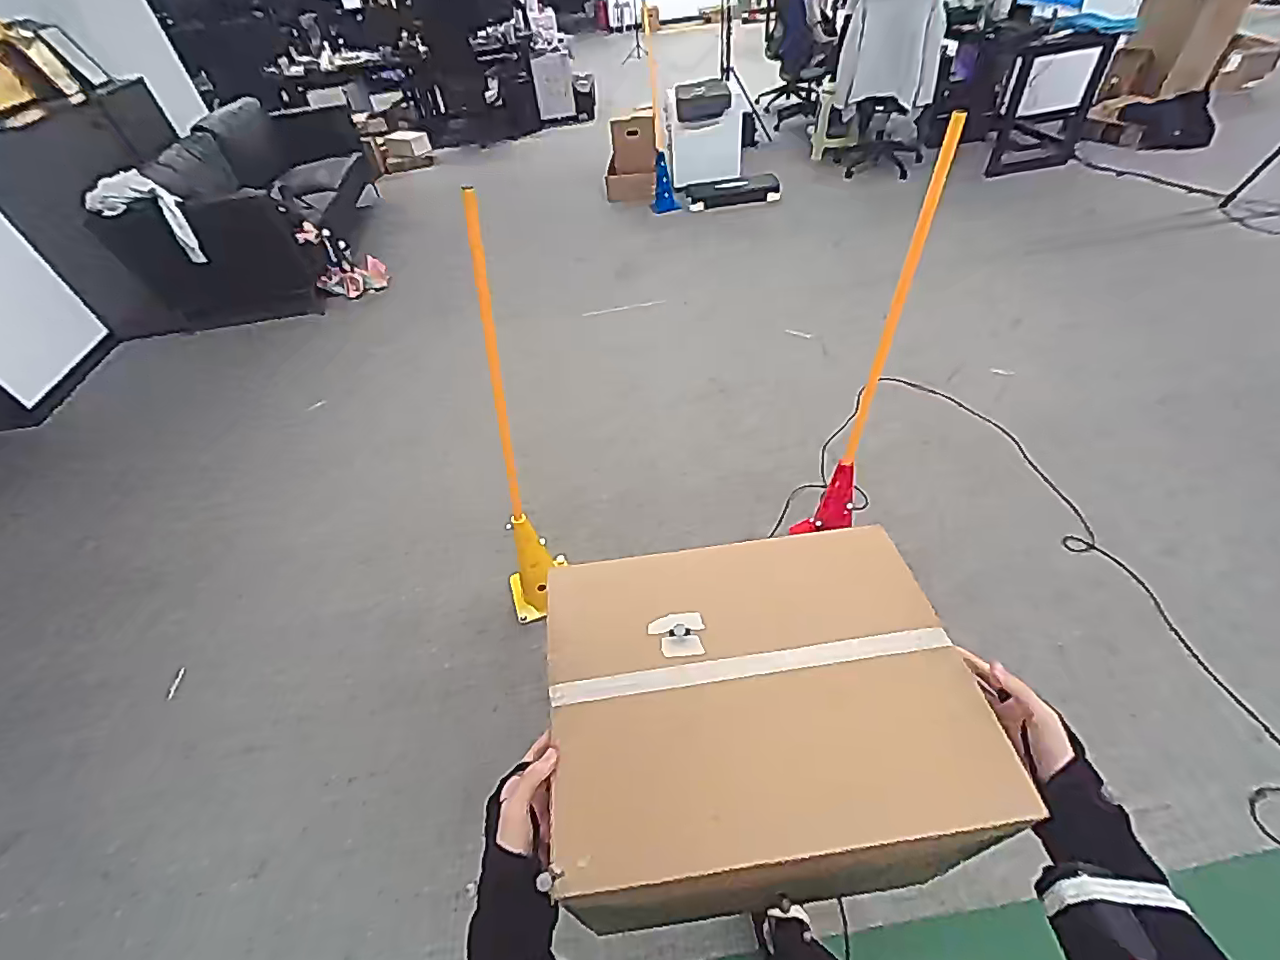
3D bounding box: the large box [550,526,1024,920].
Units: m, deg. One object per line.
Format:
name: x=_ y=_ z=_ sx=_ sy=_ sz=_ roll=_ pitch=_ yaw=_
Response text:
large box: x=0.122 y=0.294 z=0.654 sx=0.408 sy=0.320 sz=0.320 roll=-8 pitch=46 yaw=-2
